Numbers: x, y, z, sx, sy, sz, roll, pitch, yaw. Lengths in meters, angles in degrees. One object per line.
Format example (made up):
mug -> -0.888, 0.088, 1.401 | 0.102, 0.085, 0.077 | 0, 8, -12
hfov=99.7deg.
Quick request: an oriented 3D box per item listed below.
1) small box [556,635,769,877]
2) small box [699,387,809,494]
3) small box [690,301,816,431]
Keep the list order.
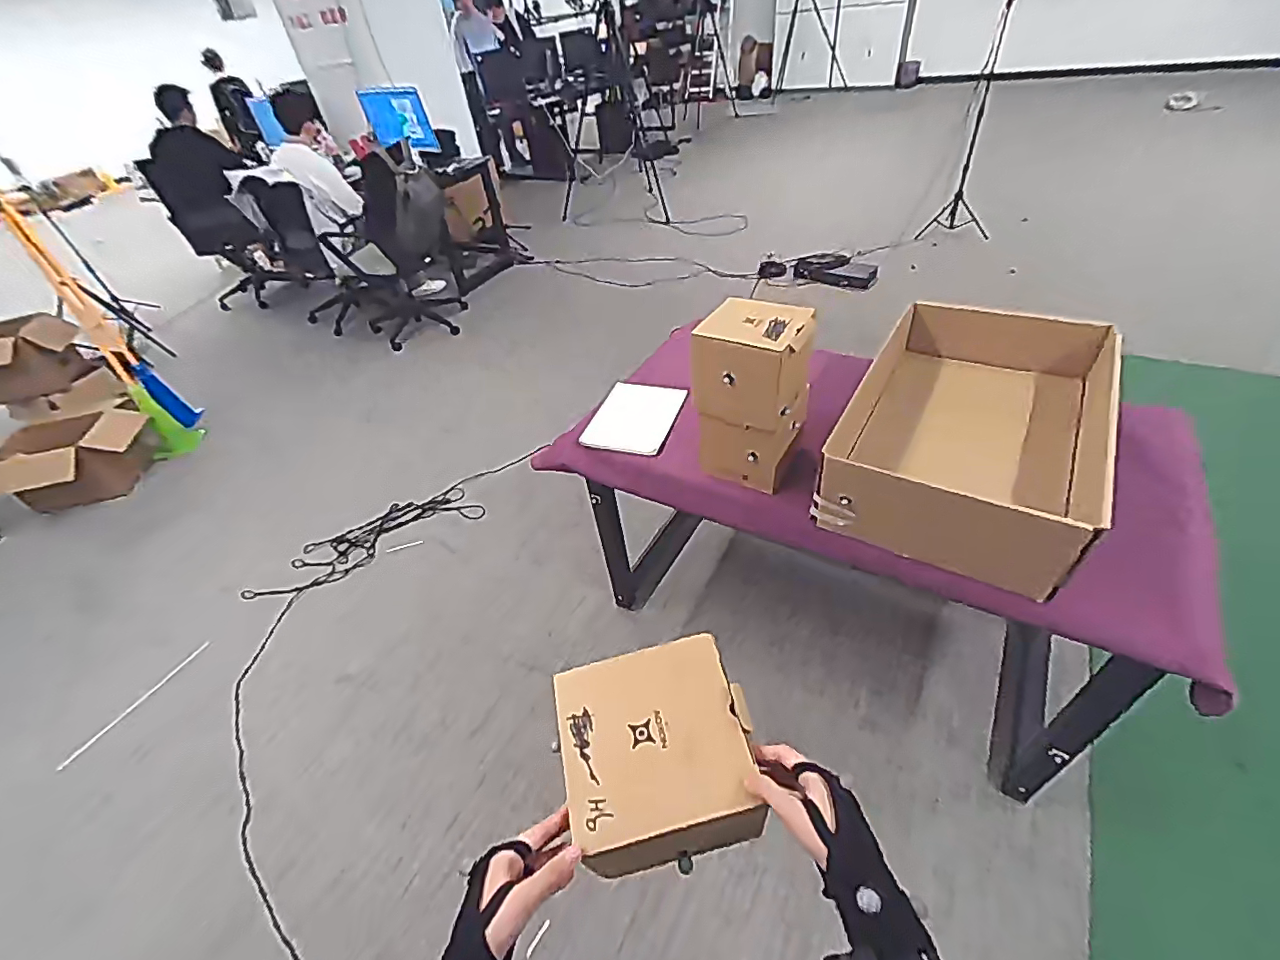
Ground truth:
small box -> 0.020, 0.293, 0.571 | 0.179, 0.176, 0.168 | -13, 46, -3
small box -> 0.239, -0.097, 1.133 | 0.168, 0.176, 0.179 | 20, 48, 27
small box -> 0.211, -0.214, 1.021 | 0.179, 0.176, 0.168 | 20, 48, 27
